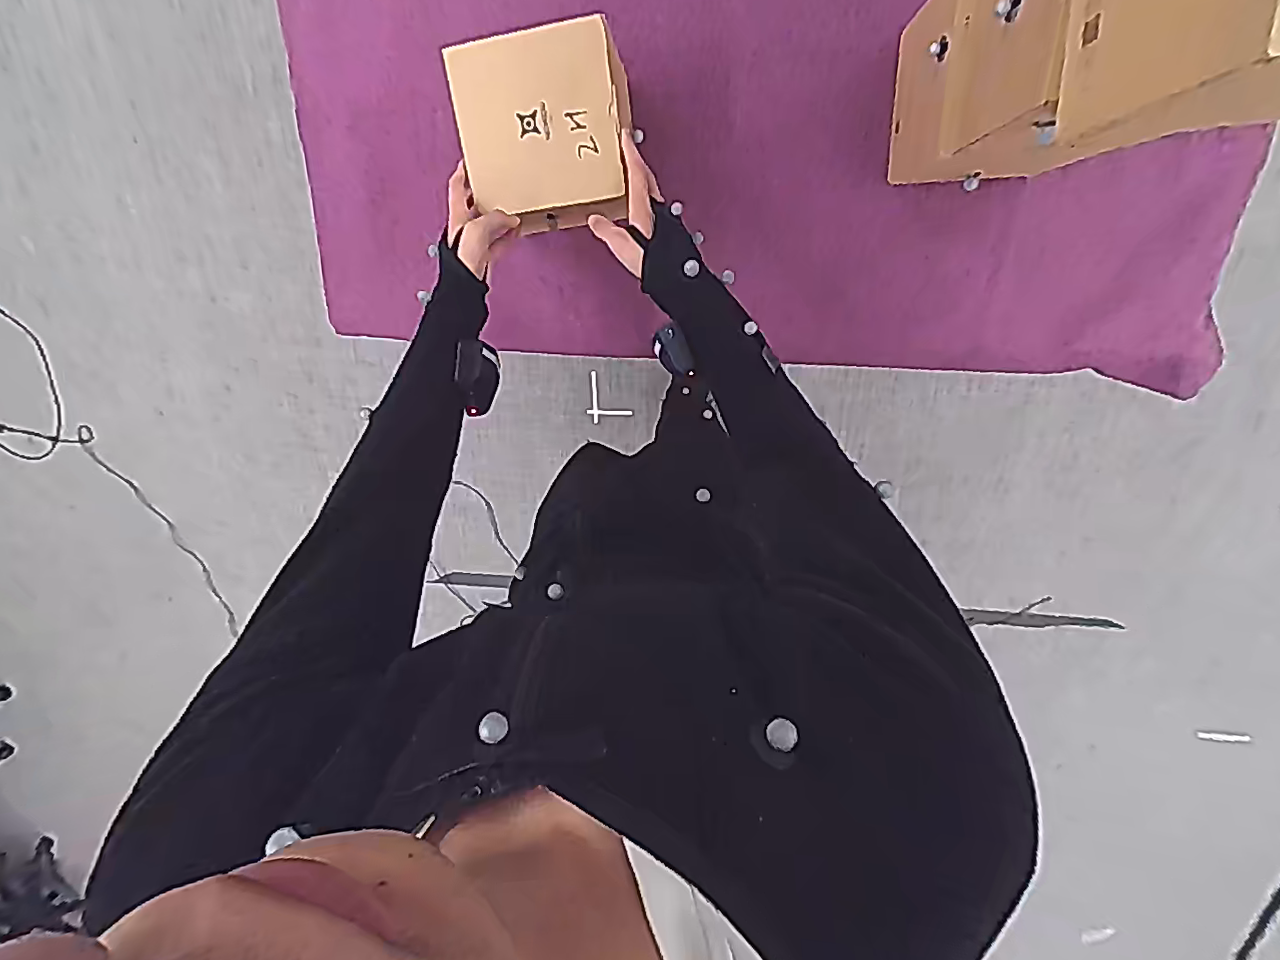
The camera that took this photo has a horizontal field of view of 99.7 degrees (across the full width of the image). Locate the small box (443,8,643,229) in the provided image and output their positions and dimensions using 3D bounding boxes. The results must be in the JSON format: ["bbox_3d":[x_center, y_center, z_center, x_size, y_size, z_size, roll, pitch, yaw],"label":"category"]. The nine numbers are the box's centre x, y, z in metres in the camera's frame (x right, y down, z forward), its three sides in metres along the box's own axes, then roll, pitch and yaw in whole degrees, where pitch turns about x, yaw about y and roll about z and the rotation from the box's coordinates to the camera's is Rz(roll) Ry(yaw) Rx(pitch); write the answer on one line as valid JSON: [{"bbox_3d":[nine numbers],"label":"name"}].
[{"bbox_3d":[-0.098,-0.402,0.637,0.179,0.176,0.168,-5,109,8],"label":"small box"}]

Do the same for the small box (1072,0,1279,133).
[{"bbox_3d":[0.368,-0.297,0.272,0.179,0.176,0.168,-3,109,8],"label":"small box"}]

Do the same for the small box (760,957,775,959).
[{"bbox_3d":[0.538,1.988,2.071,0.168,0.176,0.179,5,111,3],"label":"small box"}]

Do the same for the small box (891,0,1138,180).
[{"bbox_3d":[0.393,-0.427,0.573,0.179,0.176,0.168,0,110,6],"label":"small box"}]
